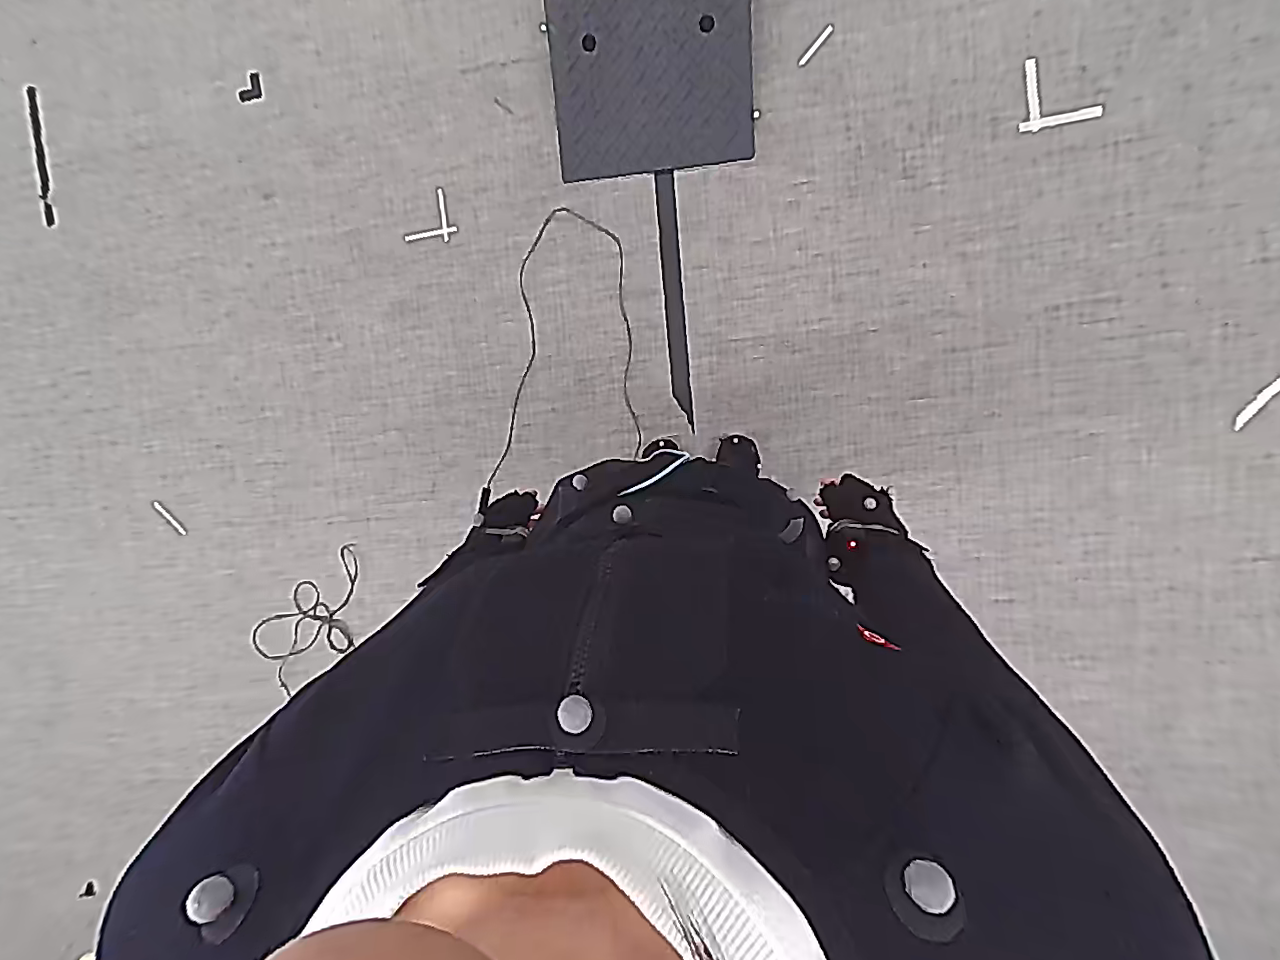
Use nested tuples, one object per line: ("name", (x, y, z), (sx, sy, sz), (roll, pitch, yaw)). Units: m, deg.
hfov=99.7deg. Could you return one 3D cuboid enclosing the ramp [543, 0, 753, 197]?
("ramp", (-0.003, -1.249, 1.284), (0.509, 0.206, 0.991), (-6, 94, 8))
